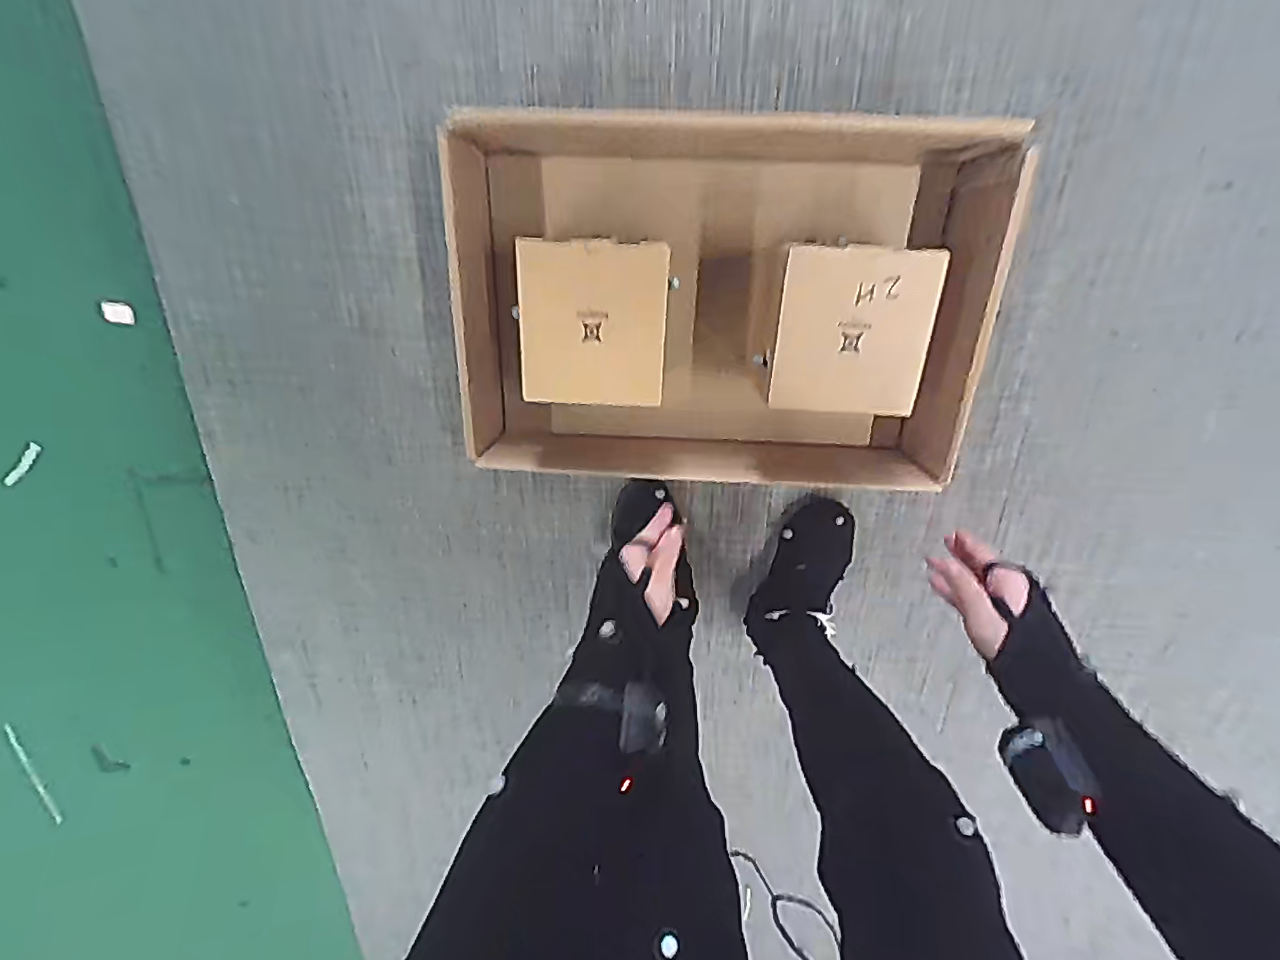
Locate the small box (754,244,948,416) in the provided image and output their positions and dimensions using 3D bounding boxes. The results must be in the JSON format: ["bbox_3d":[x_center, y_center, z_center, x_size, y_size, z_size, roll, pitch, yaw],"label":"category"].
[{"bbox_3d":[0.239,-0.189,0.666,0.168,0.176,0.179,4,112,2],"label":"small box"}]

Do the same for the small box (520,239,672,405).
[{"bbox_3d":[-0.047,-0.202,0.681,0.168,0.176,0.179,3,111,2],"label":"small box"}]
